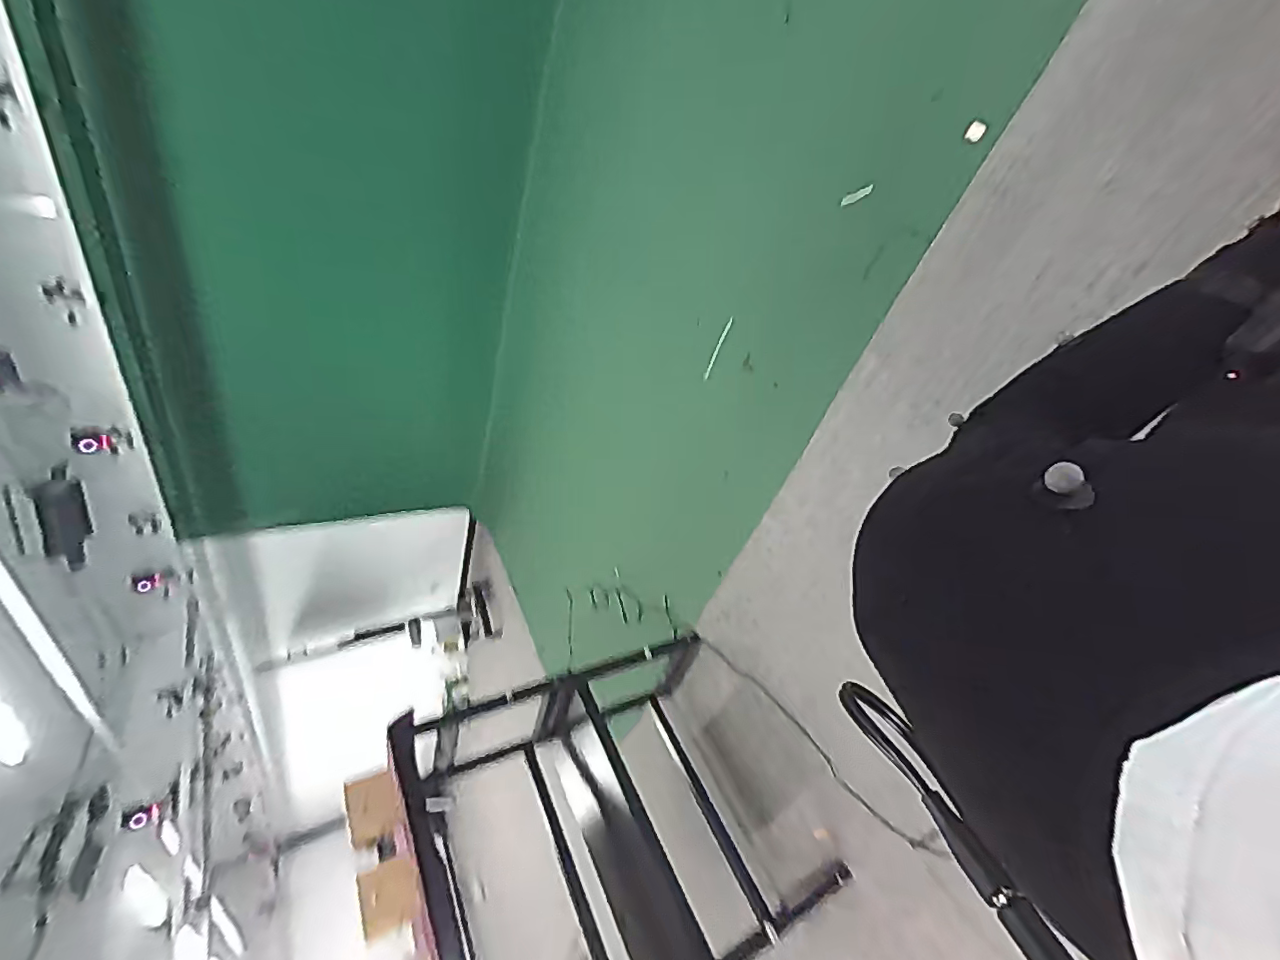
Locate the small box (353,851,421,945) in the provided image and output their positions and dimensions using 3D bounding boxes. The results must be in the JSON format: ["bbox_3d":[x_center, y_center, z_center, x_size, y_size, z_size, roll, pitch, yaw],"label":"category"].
[{"bbox_3d":[-0.810,1.327,1.728,0.179,0.176,0.168,54,139,35],"label":"small box"}]

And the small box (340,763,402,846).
[{"bbox_3d":[-0.942,1.132,1.894,0.179,0.176,0.168,58,138,33],"label":"small box"}]
